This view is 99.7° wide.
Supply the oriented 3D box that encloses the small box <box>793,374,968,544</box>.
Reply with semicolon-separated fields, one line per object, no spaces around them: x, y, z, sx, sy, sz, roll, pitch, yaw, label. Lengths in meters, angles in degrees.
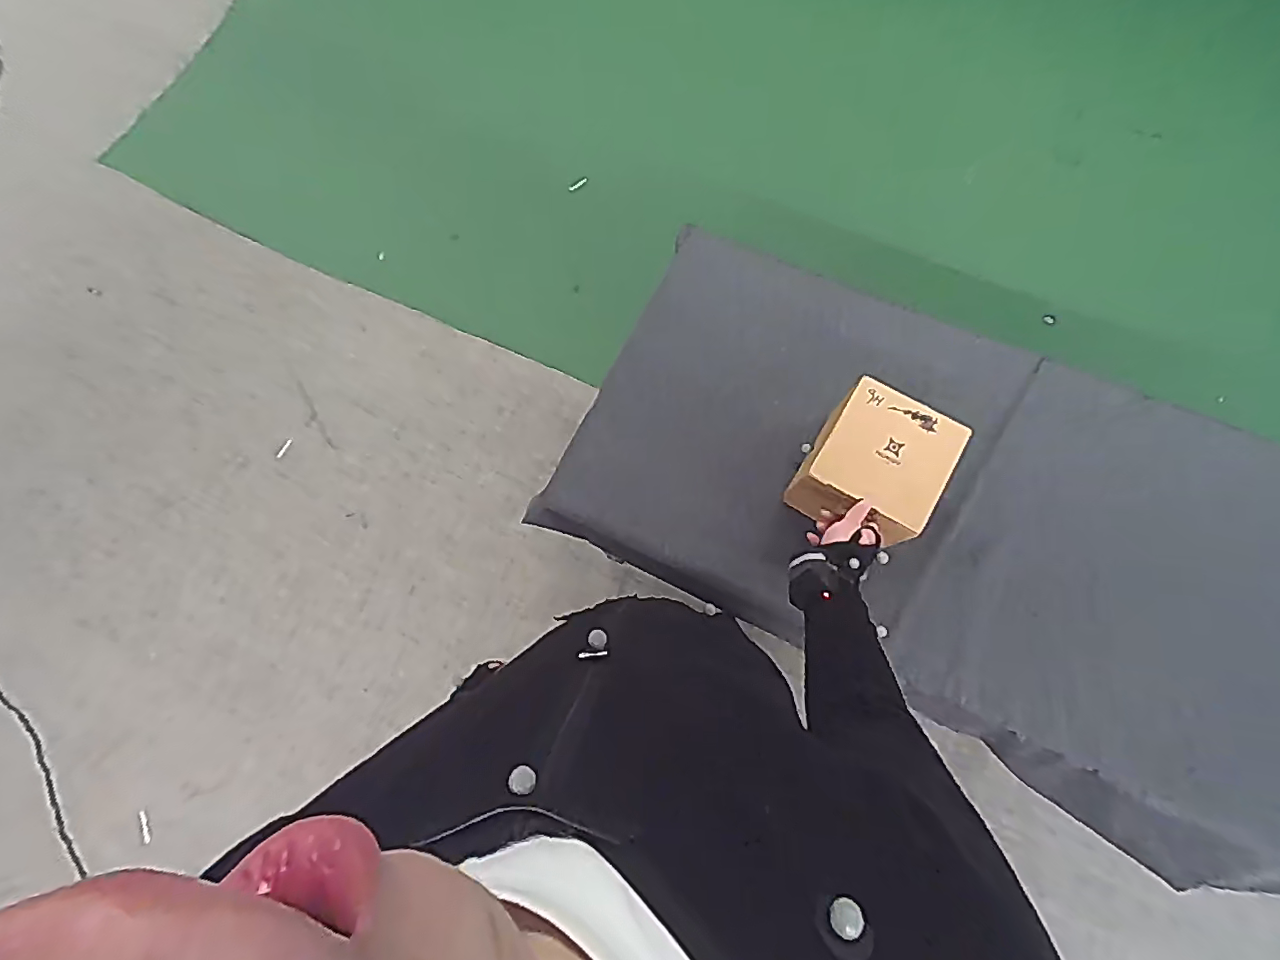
0.348;-0.021;0.820;0.168;0.176;0.179;28;77;12;small box
